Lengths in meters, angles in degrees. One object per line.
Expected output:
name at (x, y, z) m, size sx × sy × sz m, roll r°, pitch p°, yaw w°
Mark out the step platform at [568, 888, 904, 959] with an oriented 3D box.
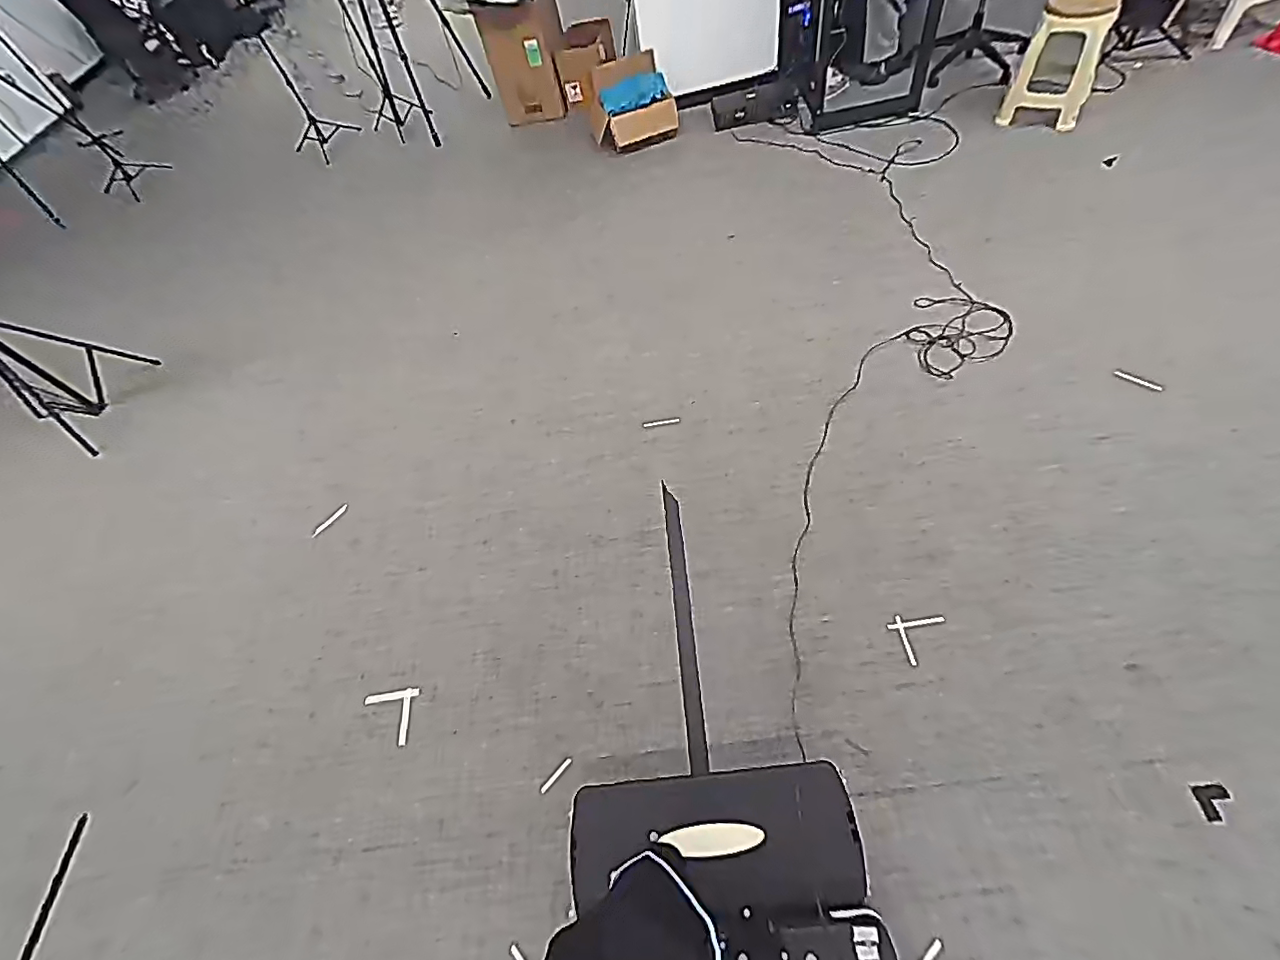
step platform at (0.193, 1.037, 1.094) m, size 0.684 × 0.204 × 0.286 m, roll -11°, pitch 54°, yaw 6°
